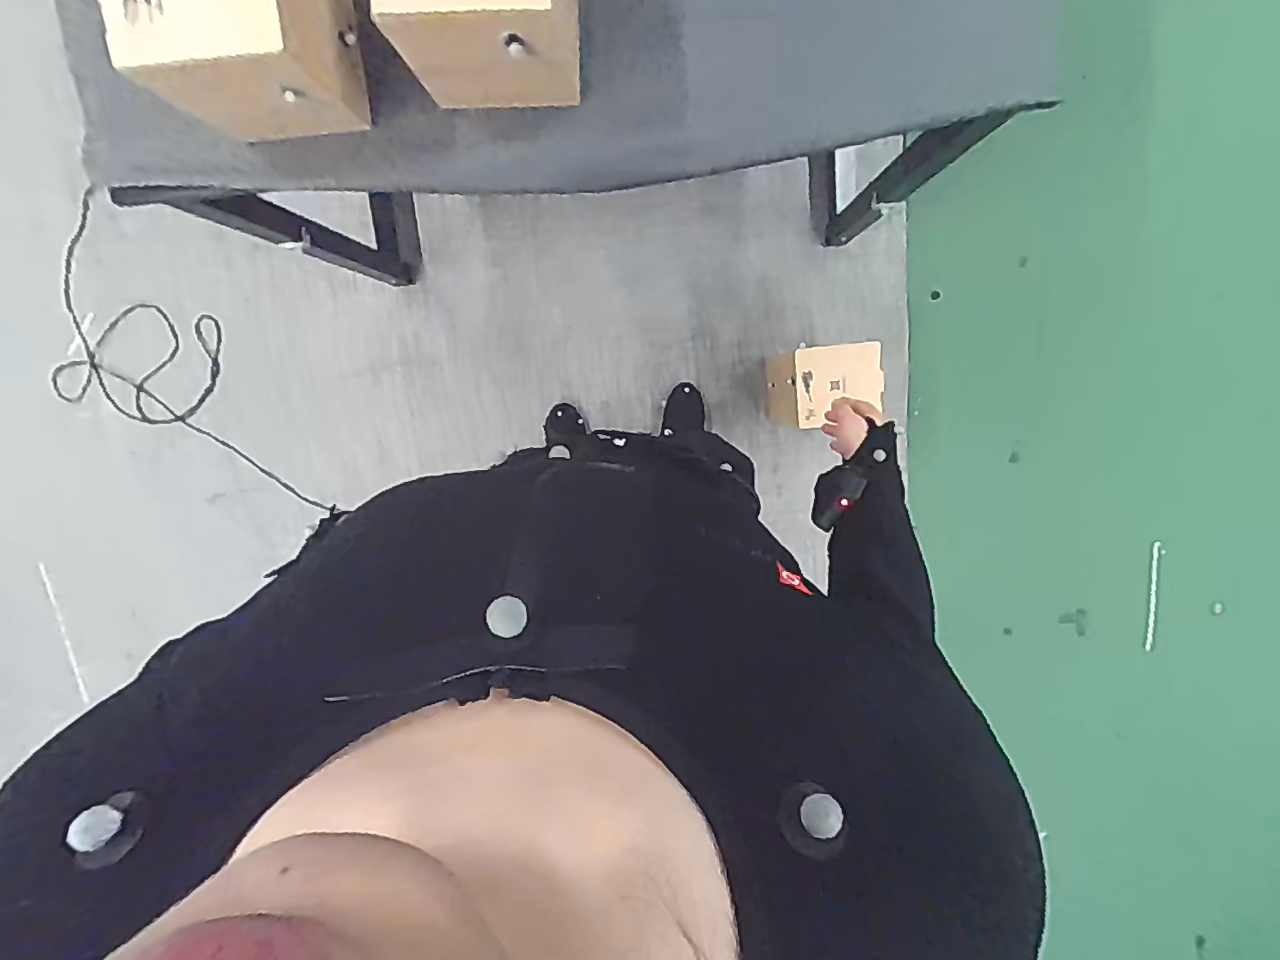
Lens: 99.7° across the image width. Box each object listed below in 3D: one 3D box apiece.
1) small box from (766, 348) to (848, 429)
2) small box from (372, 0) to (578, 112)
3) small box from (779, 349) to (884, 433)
[{"bbox_3d":[0.413,-0.228,1.345,0.168,0.176,0.179,-6,99,3],"label":"small box"},{"bbox_3d":[-0.162,-0.524,0.576,0.179,0.176,0.168,1,98,3],"label":"small box"},{"bbox_3d":[0.410,-0.197,1.183,0.179,0.176,0.168,-4,101,3],"label":"small box"}]
